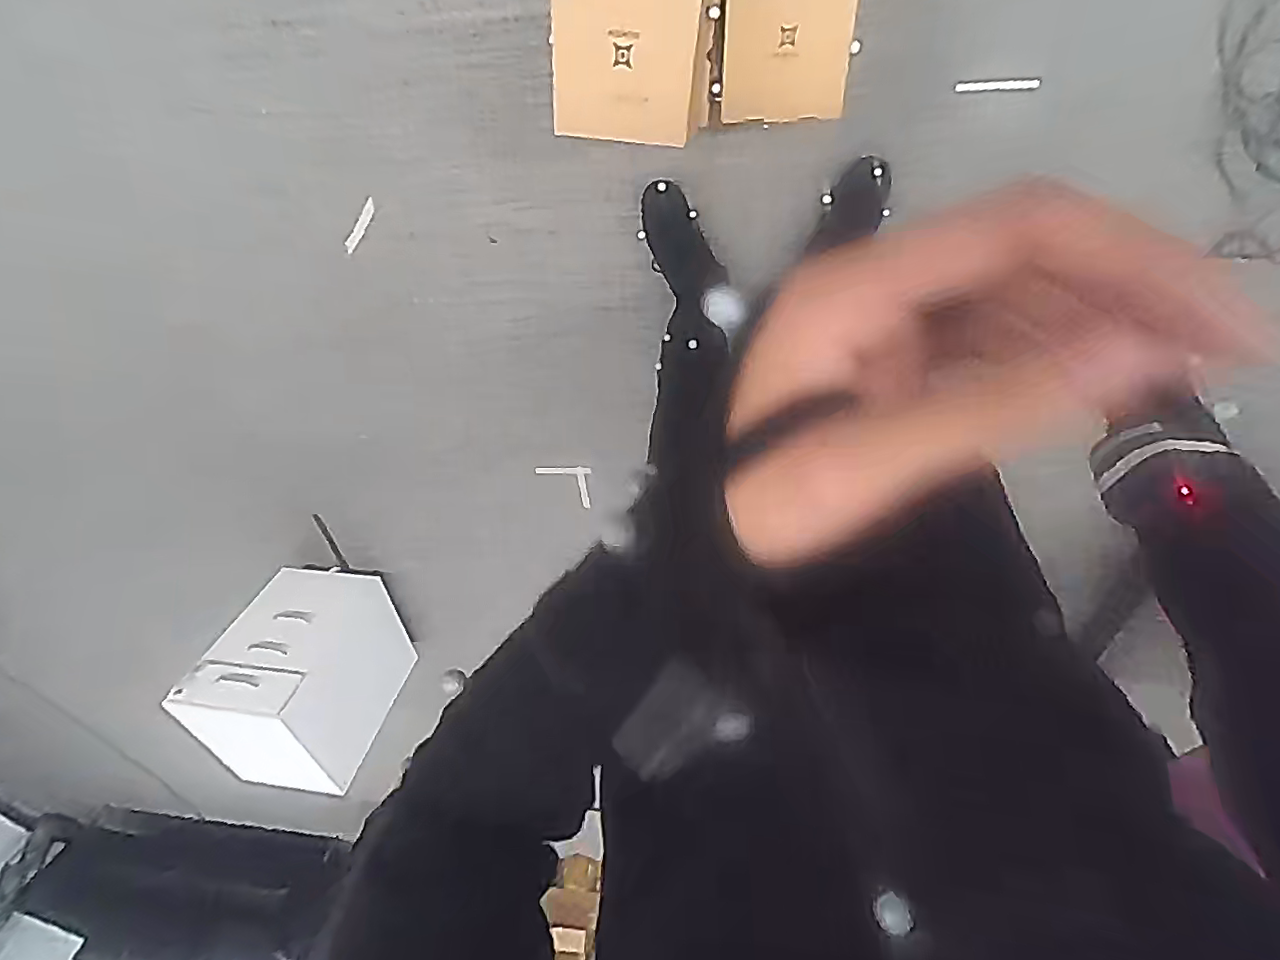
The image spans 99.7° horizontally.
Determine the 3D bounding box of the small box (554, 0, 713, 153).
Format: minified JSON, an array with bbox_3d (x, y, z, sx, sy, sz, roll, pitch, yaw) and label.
[{"bbox_3d":[-0.005,-0.523,0.668,0.168,0.176,0.179,9,128,5],"label":"small box"}]
